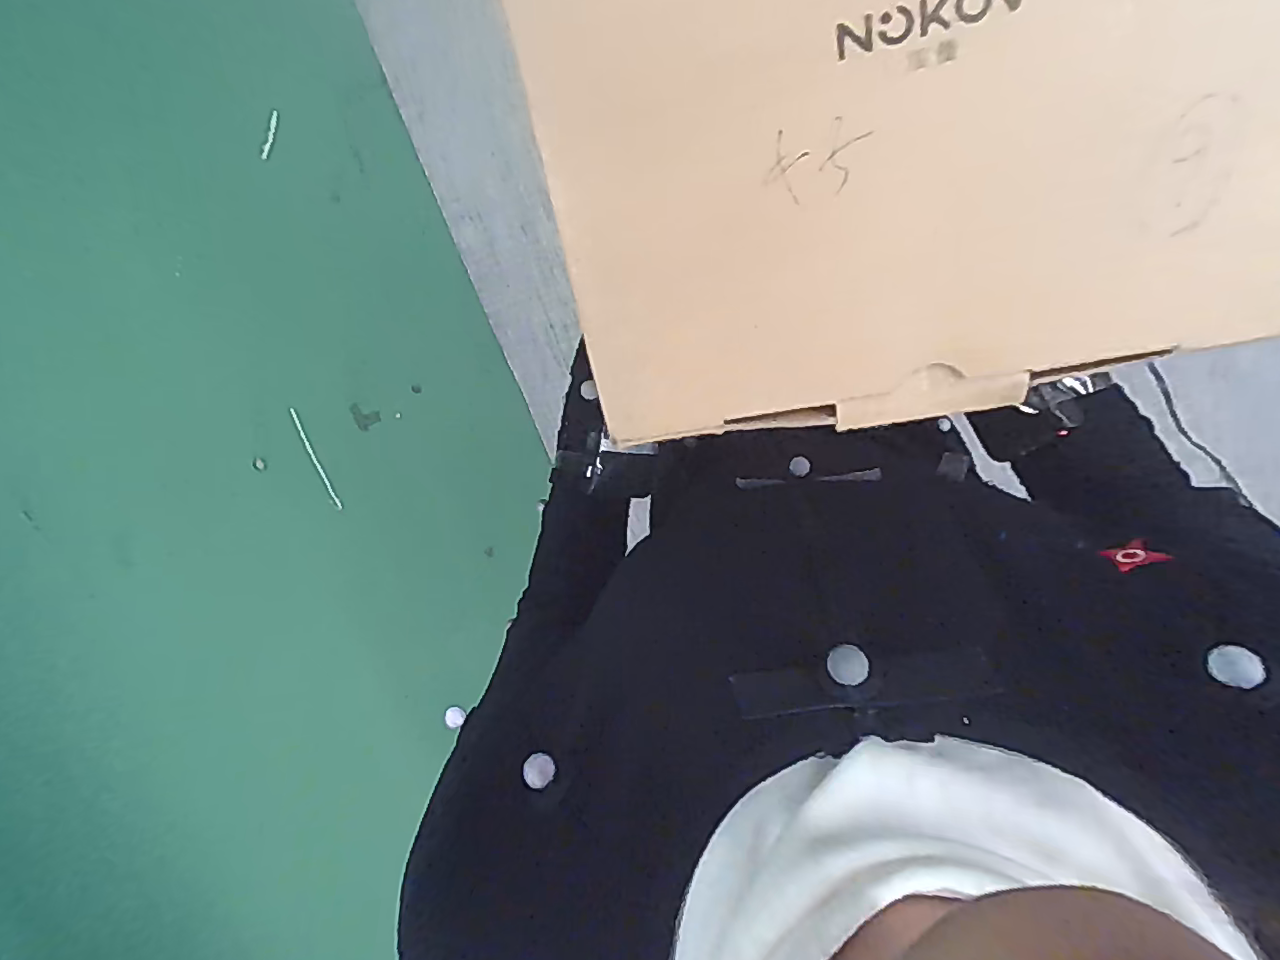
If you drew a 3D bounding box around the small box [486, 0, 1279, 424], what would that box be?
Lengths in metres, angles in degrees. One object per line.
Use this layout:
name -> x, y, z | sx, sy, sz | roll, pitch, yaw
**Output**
small box -> 0.057, -0.135, 0.181 | 0.168, 0.176, 0.179 | -8, 111, 10
